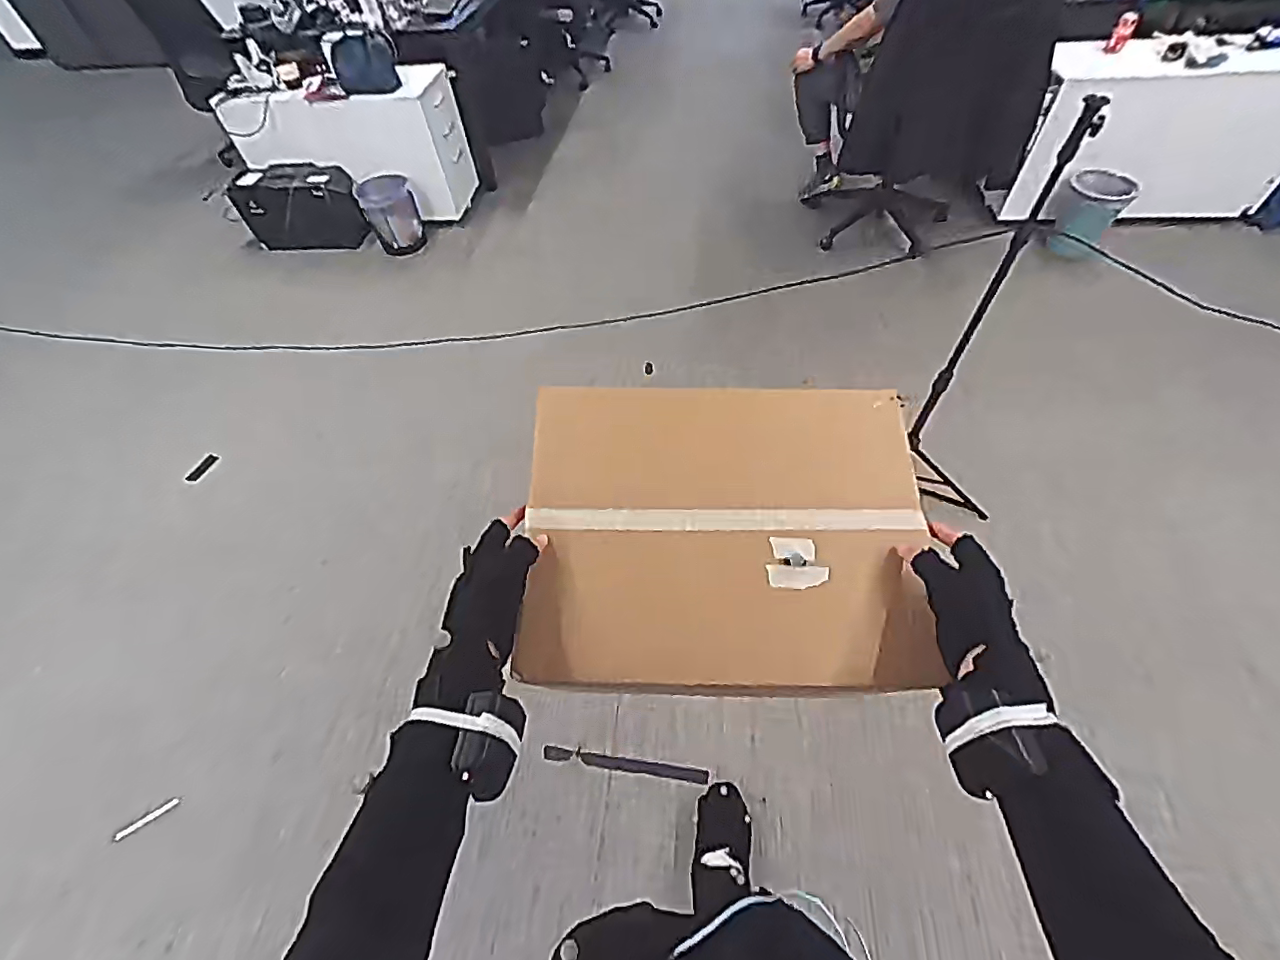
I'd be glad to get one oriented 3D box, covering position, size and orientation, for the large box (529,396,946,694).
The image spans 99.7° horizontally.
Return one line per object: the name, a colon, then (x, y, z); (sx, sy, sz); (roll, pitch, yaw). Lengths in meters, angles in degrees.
large box: (0.091, 0.104, 0.703); (0.408, 0.320, 0.320); (0, 67, 1)
